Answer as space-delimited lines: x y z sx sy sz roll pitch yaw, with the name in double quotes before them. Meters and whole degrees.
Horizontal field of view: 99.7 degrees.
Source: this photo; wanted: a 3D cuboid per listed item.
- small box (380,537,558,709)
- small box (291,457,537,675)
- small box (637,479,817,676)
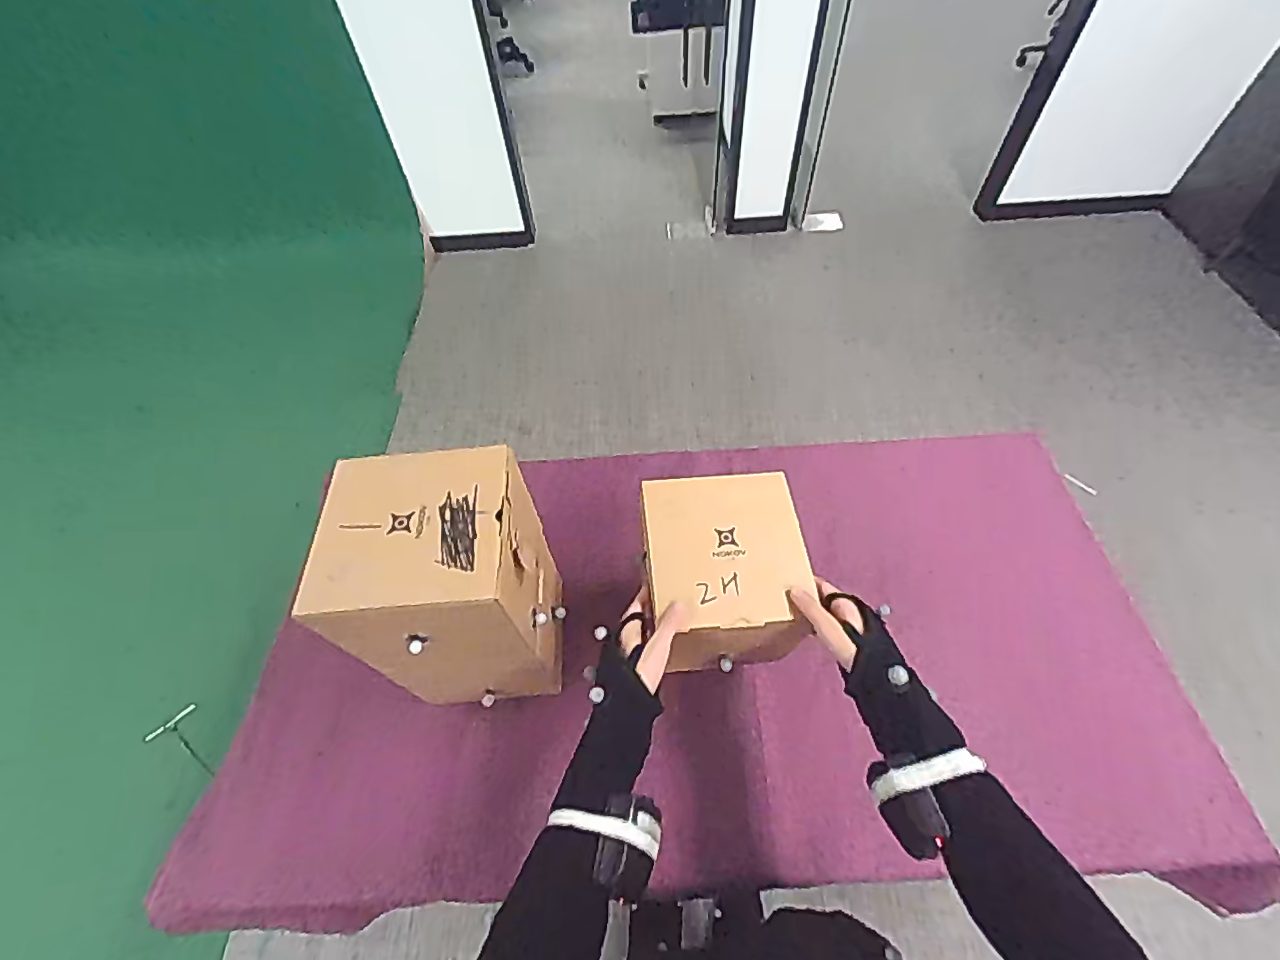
"small box" -0.203 0.189 0.703 0.179 0.176 0.168 -5 55 -1
"small box" -0.210 0.096 0.566 0.179 0.176 0.168 -6 56 1
"small box" 0.084 0.117 0.632 0.168 0.176 0.179 -3 59 -3
